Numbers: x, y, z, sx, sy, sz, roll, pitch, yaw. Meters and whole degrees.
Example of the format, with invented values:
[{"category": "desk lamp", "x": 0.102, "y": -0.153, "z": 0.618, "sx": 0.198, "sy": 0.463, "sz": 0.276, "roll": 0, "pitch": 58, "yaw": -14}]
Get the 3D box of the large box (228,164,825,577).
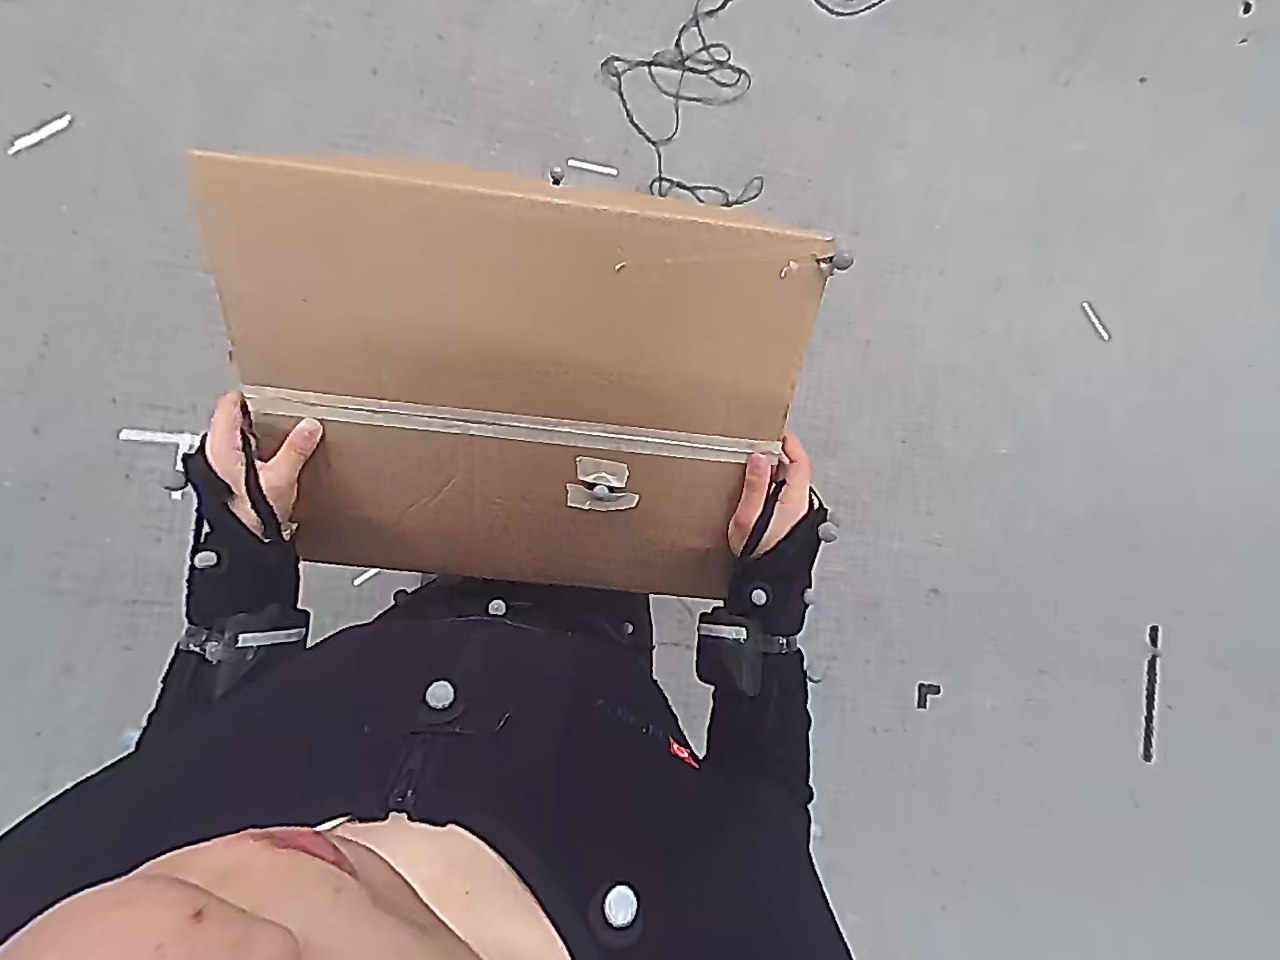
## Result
[{"category": "large box", "x": -0.089, "y": -0.127, "z": 0.560, "sx": 0.408, "sy": 0.320, "sz": 0.320, "roll": 5, "pitch": 121, "yaw": -5}]
